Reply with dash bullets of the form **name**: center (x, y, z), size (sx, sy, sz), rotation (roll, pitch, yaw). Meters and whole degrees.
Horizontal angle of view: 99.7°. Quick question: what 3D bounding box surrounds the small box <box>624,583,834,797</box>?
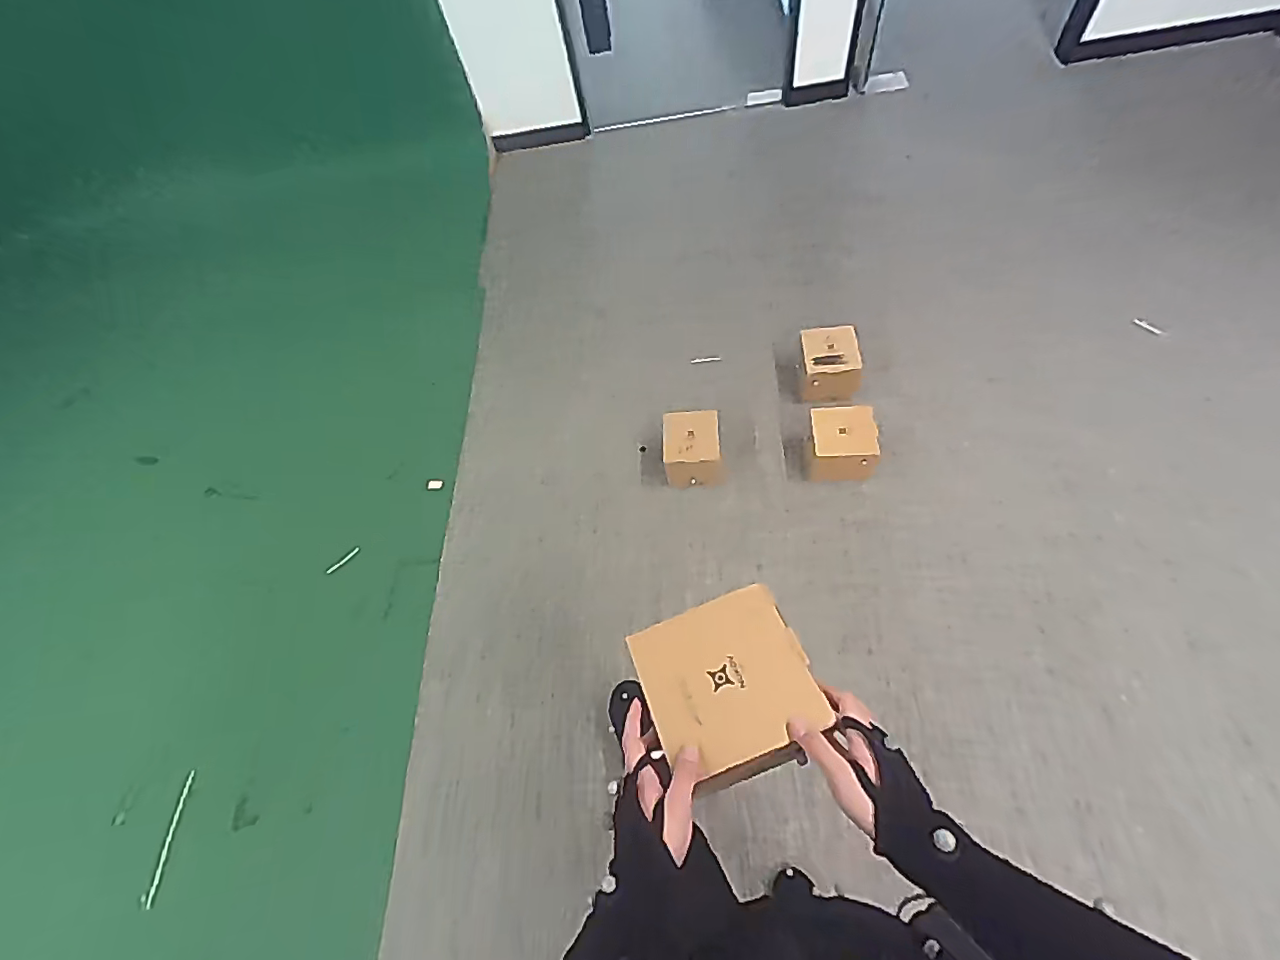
- **small box**: center (0.100, 0.249, 0.629), size (0.179, 0.176, 0.168), rotation (-22, 54, 0)

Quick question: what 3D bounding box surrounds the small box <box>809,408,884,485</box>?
- **small box**: center (0.600, -0.094, 1.598), size (0.179, 0.176, 0.168), rotation (-2, 62, 7)

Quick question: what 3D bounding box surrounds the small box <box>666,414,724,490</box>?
- **small box**: center (0.171, -0.084, 1.663), size (0.168, 0.176, 0.179), rotation (-3, 62, 9)
